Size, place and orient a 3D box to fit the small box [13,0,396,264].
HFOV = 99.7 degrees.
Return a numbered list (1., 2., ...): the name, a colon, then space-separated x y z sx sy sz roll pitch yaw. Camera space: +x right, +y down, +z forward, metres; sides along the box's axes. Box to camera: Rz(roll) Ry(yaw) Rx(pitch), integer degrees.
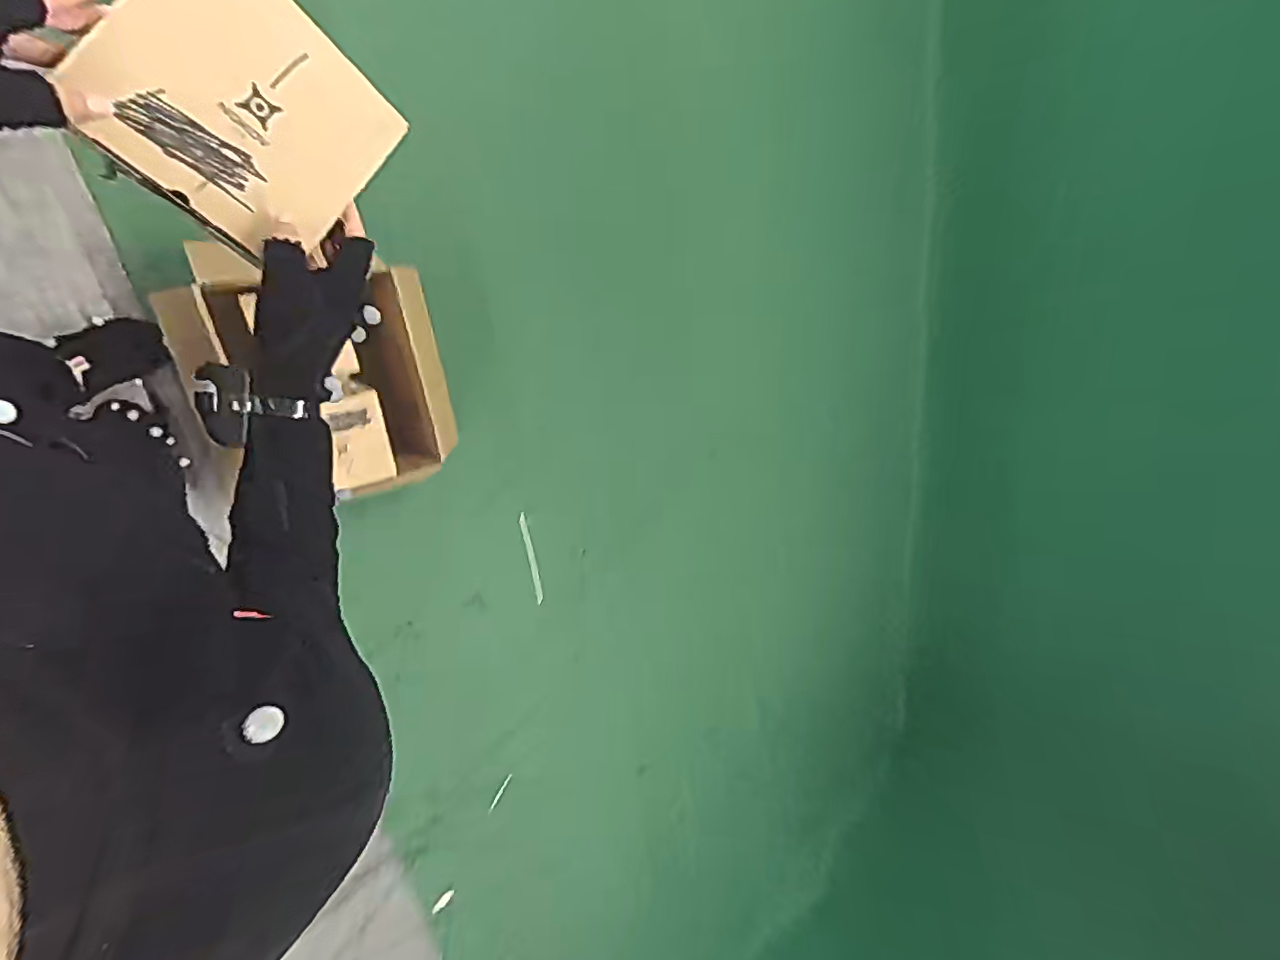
1. small box: -0.347 -0.309 0.457 0.168 0.176 0.179 39 82 -43
